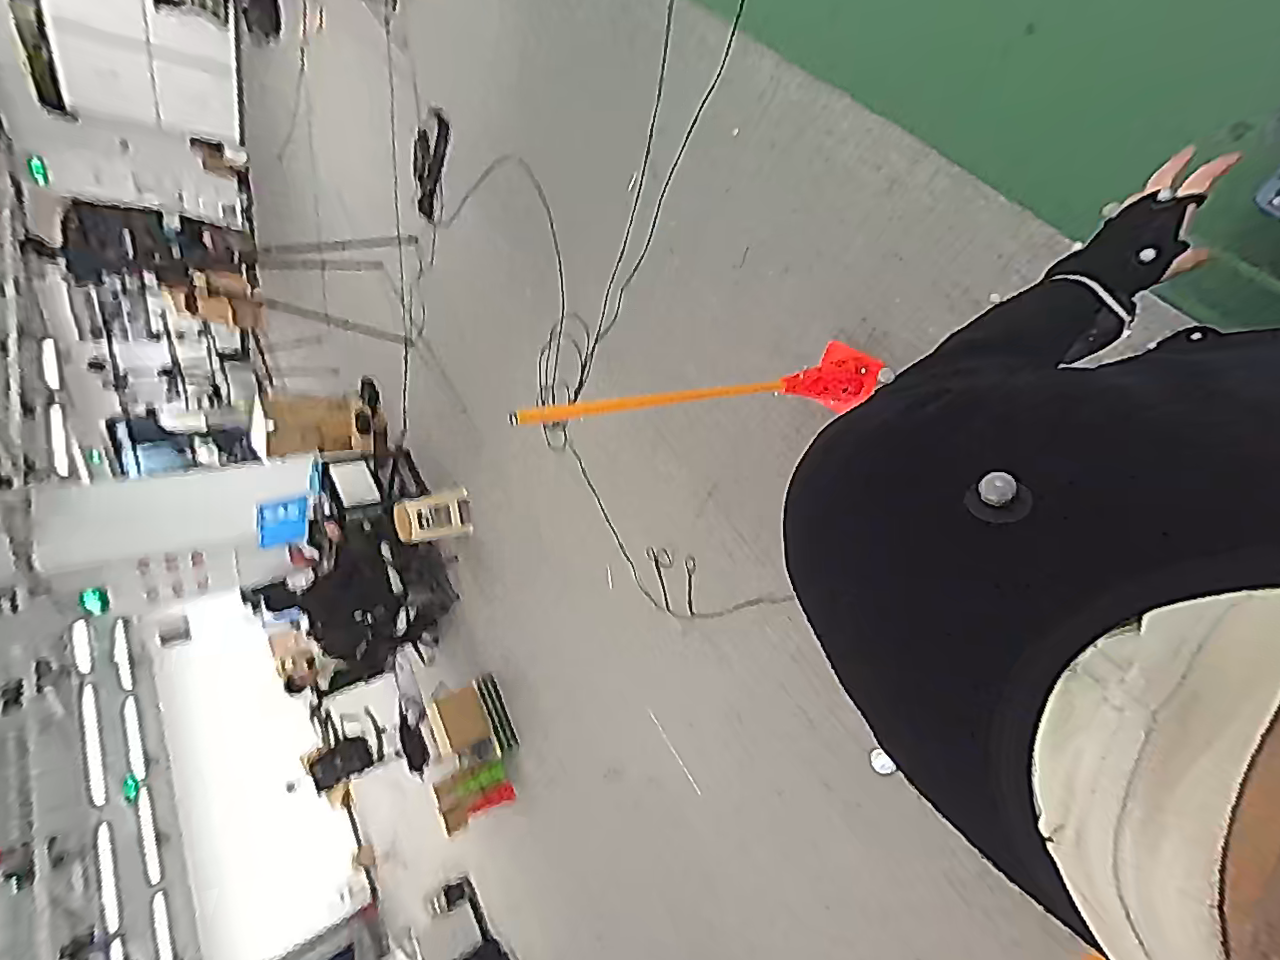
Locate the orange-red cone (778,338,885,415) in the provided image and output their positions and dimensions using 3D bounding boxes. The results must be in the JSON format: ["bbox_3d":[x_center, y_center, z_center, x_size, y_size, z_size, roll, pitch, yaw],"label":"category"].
[{"bbox_3d":[0.529,-0.305,1.615,0.199,0.360,0.198,43,128,36],"label":"orange-red cone"}]
